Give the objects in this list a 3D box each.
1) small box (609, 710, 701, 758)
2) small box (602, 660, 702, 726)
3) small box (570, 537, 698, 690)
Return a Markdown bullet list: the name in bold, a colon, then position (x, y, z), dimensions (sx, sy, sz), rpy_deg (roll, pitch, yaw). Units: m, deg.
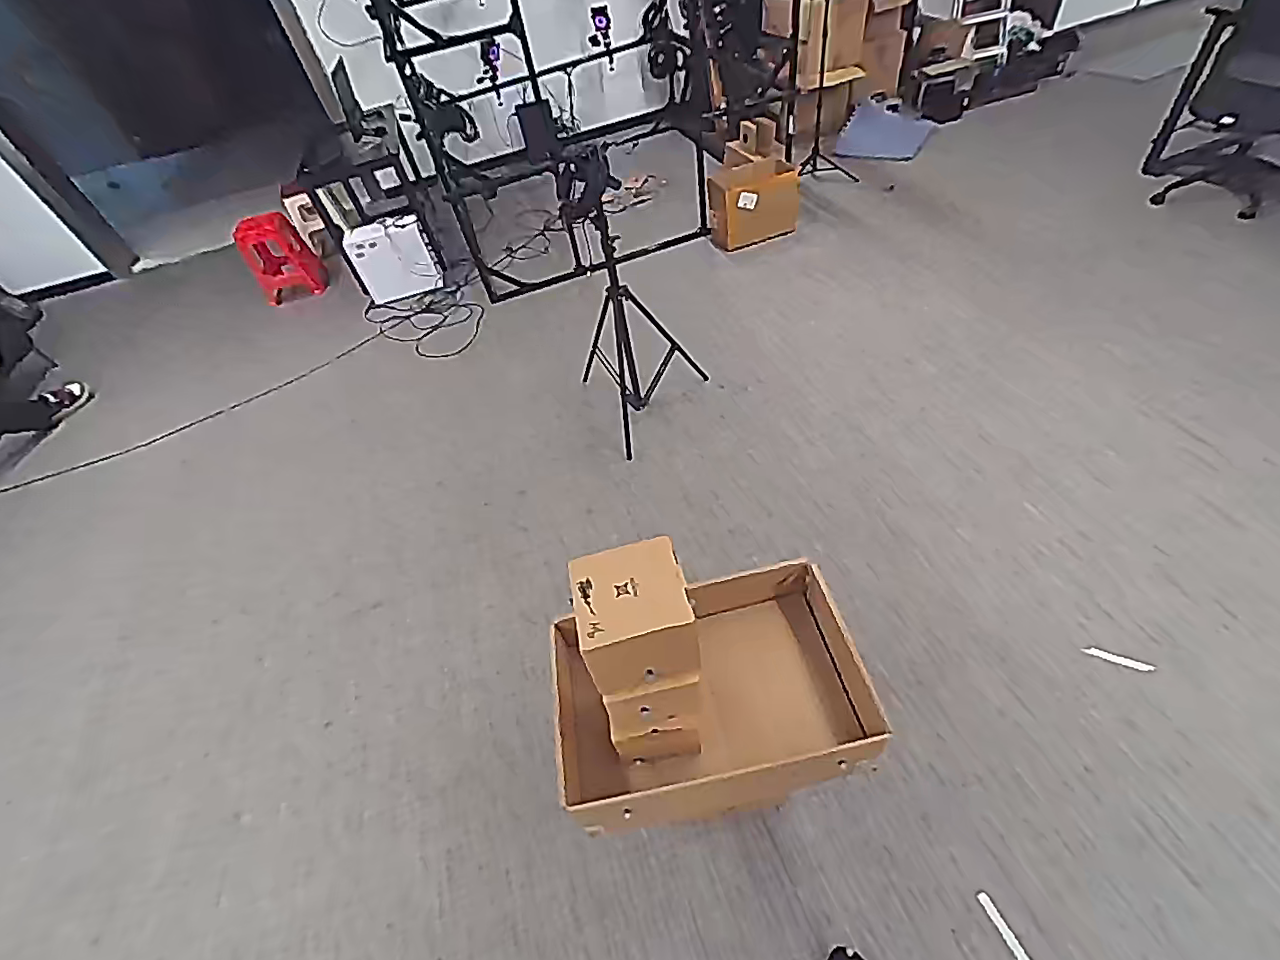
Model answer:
- **small box**: position (0.029, 0.457, 1.119), dimensions (0.168, 0.176, 0.179), rpy_deg (-10, 47, 1)
- **small box**: position (0.015, 0.339, 1.007), dimensions (0.168, 0.176, 0.179), rpy_deg (-13, 47, -2)
- **small box**: position (-0.008, 0.223, 0.894), dimensions (0.179, 0.176, 0.168), rpy_deg (-13, 46, -3)
